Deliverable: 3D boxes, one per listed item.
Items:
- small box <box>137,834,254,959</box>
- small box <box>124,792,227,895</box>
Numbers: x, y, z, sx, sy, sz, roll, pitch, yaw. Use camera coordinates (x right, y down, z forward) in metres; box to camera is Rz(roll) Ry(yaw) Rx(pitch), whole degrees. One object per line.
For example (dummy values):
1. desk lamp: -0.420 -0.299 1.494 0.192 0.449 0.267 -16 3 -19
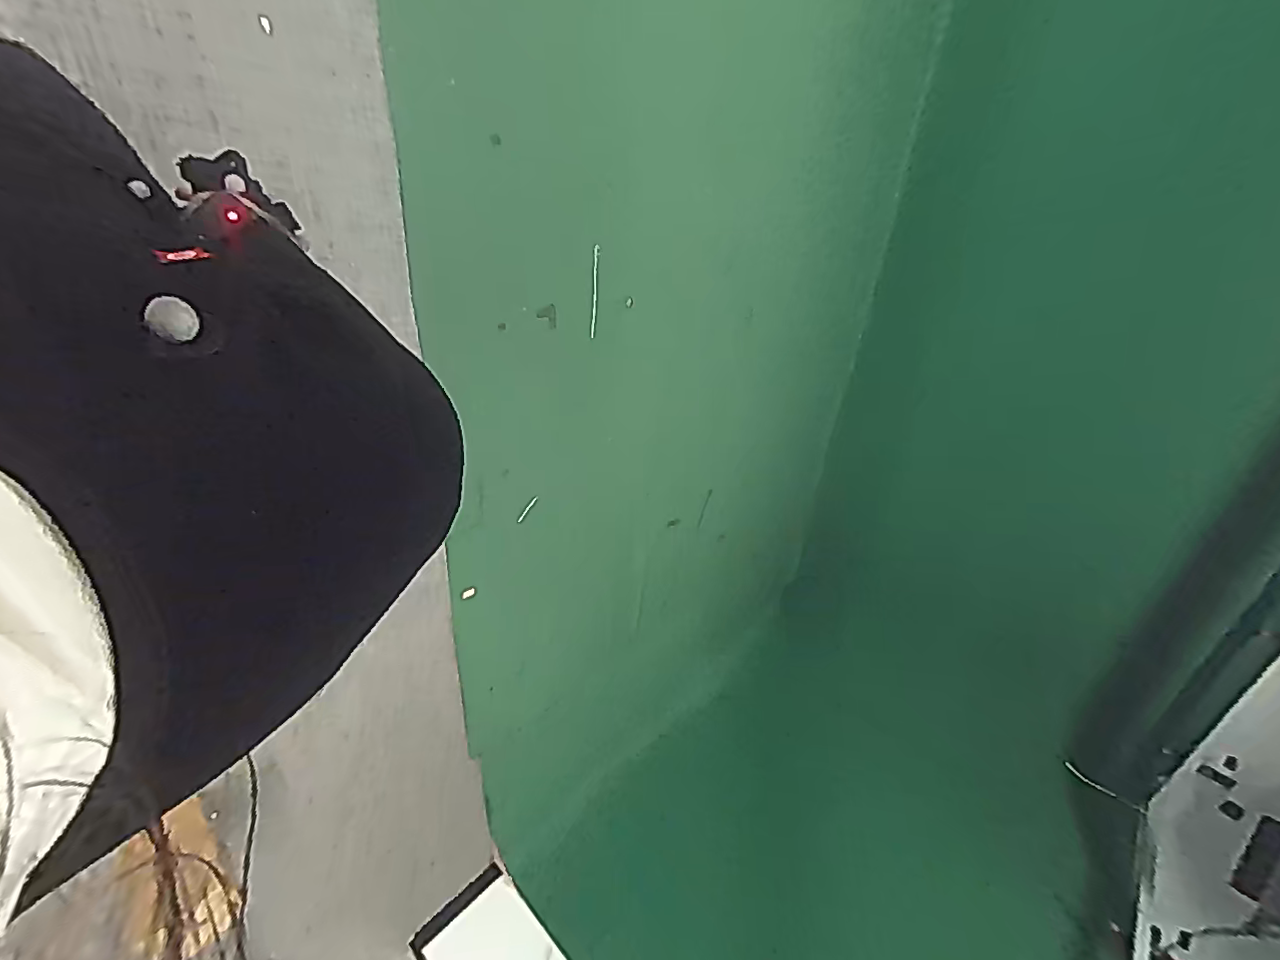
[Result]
1. small box: -1.118 1.051 1.357 0.179 0.176 0.168 -28 132 -39
2. small box: -1.240 0.995 1.451 0.179 0.176 0.168 -27 131 -42
